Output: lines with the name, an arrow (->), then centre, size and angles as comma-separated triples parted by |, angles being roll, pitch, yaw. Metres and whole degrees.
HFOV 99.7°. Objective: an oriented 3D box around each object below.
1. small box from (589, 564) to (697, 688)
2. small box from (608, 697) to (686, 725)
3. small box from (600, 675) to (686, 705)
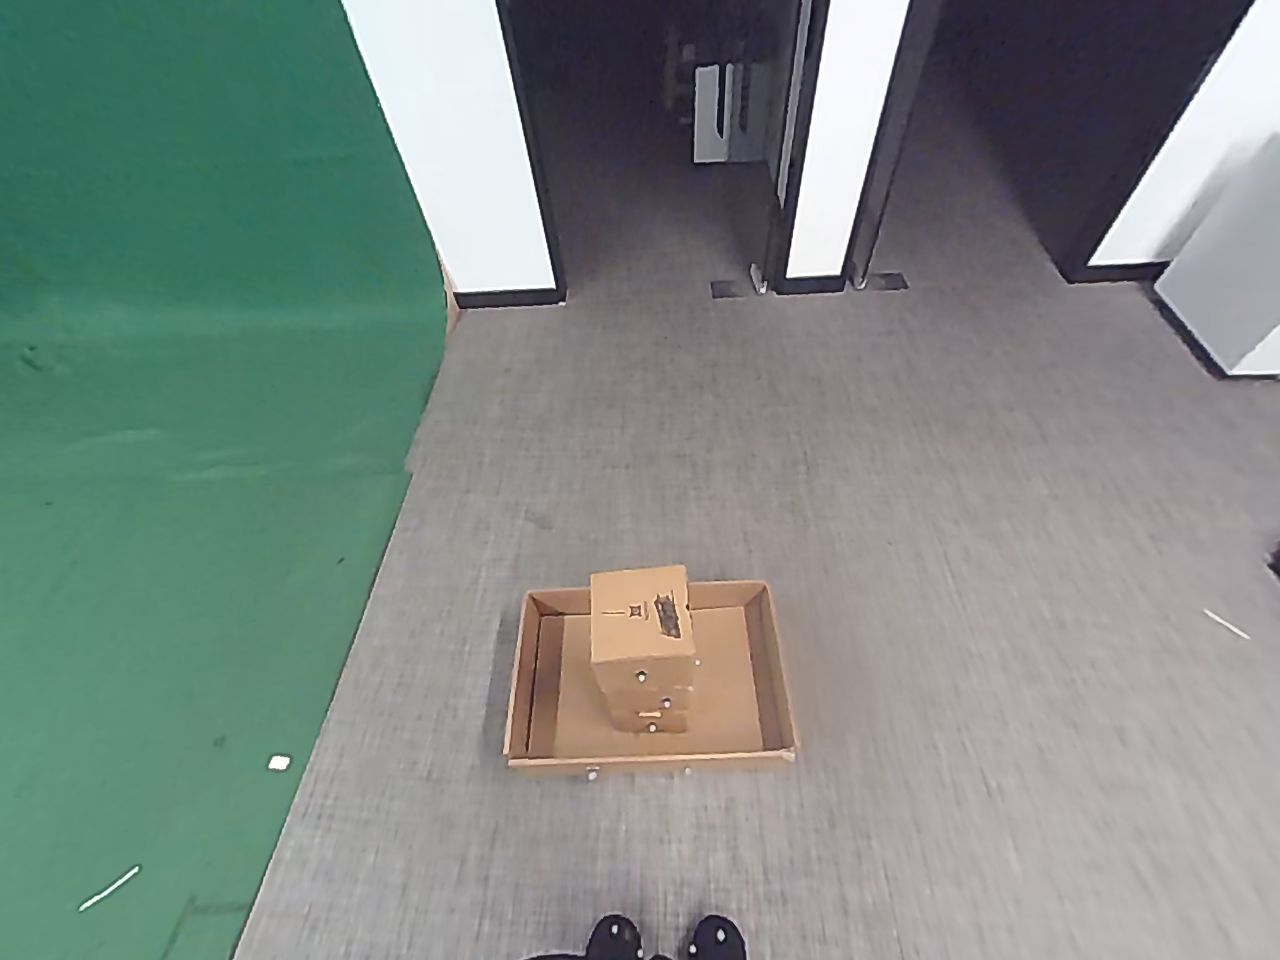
small box -> 0.003, 0.274, 1.004 | 0.179, 0.176, 0.168 | -6, 53, -2
small box -> 0.023, 0.465, 1.267 | 0.168, 0.176, 0.179 | -1, 53, 5
small box -> 0.012, 0.366, 1.139 | 0.168, 0.176, 0.179 | -1, 52, 3
